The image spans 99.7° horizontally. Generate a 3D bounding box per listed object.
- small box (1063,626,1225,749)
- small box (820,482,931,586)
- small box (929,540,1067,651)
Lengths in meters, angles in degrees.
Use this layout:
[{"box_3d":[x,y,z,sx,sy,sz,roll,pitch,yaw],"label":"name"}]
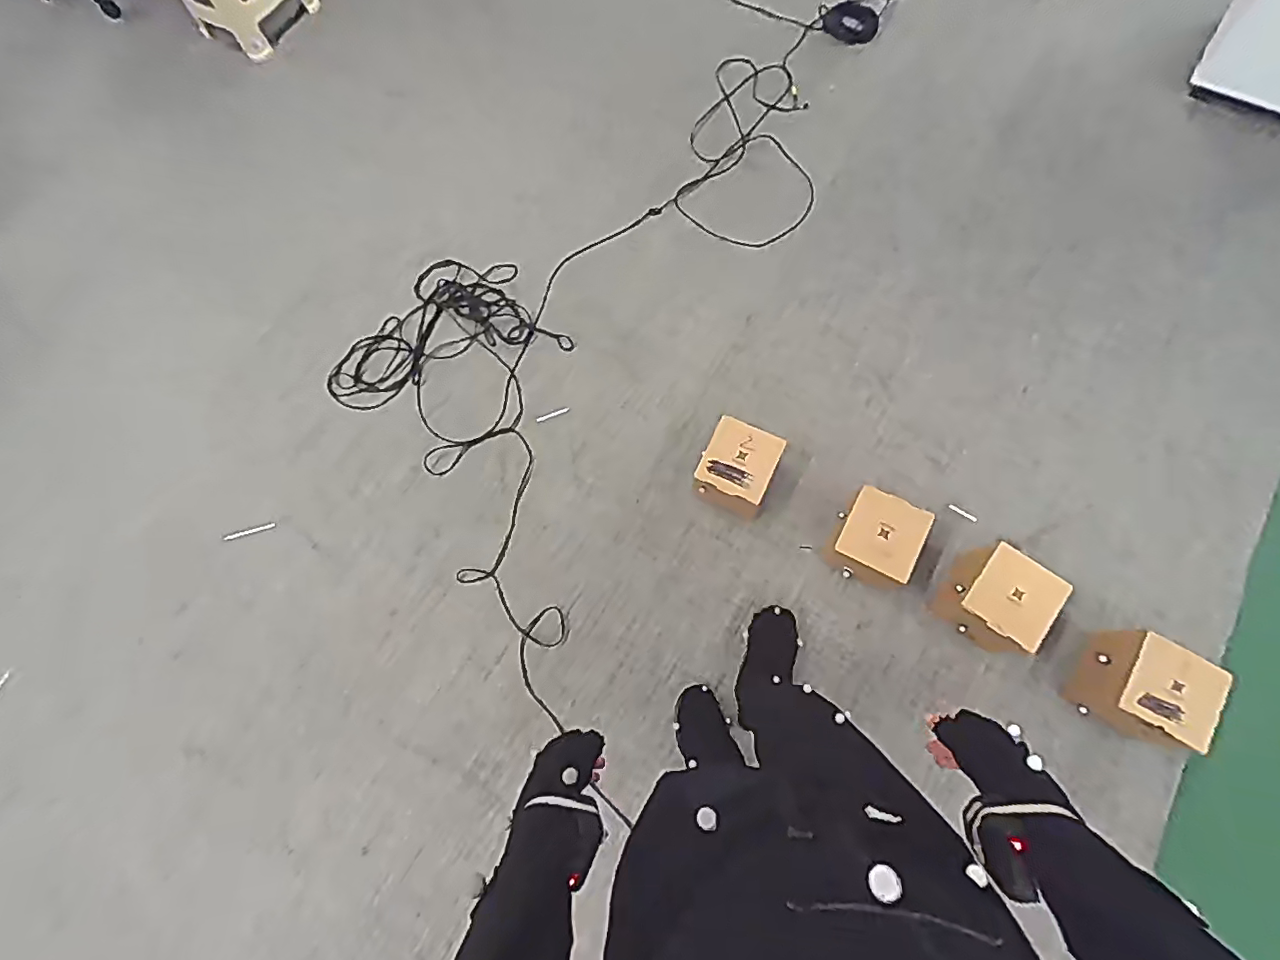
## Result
[{"box_3d":[1.054,0.432,1.149,0.168,0.176,0.179,31,78,12],"label":"small box"},{"box_3d":[0.543,0.133,1.272,0.168,0.176,0.179,26,79,13],"label":"small box"},{"box_3d":[0.792,0.261,1.218,0.168,0.176,0.179,36,80,13],"label":"small box"}]
